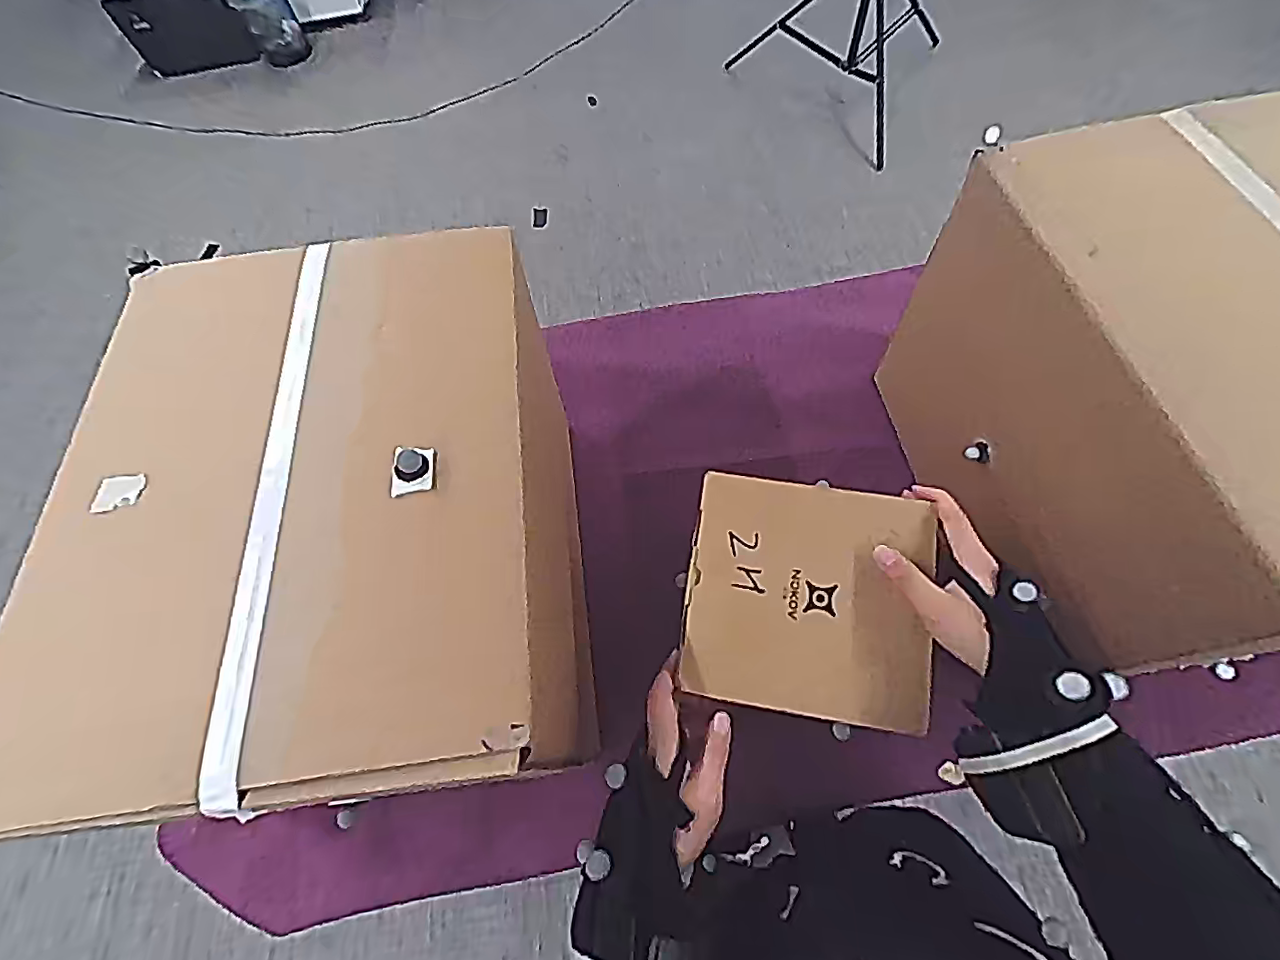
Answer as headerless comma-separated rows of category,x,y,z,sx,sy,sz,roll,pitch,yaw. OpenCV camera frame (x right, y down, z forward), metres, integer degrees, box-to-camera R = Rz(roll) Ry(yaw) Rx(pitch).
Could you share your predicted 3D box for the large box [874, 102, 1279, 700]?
large box,0.467,-0.052,0.489,0.320,0.320,0.408,-9,61,0
